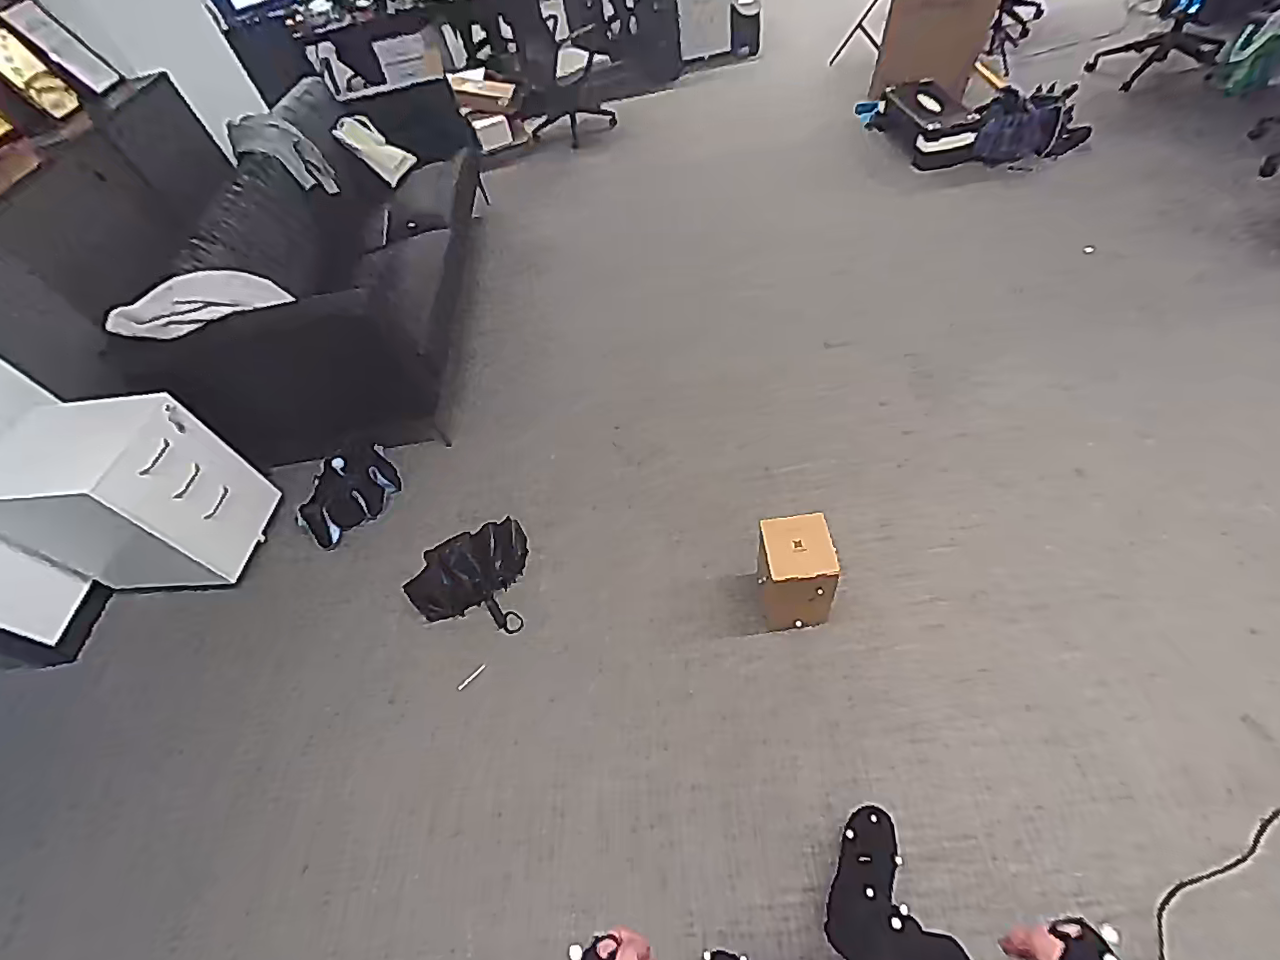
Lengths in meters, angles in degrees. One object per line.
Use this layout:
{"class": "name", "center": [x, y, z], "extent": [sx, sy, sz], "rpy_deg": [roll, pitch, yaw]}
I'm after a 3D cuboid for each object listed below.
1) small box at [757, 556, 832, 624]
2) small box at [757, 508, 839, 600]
{"class": "small box", "center": [0.427, 0.287, 1.528], "extent": [0.168, 0.176, 0.179], "rpy_deg": [-10, 55, 5]}
{"class": "small box", "center": [0.400, 0.199, 1.395], "extent": [0.168, 0.176, 0.179], "rpy_deg": [-8, 53, 4]}
